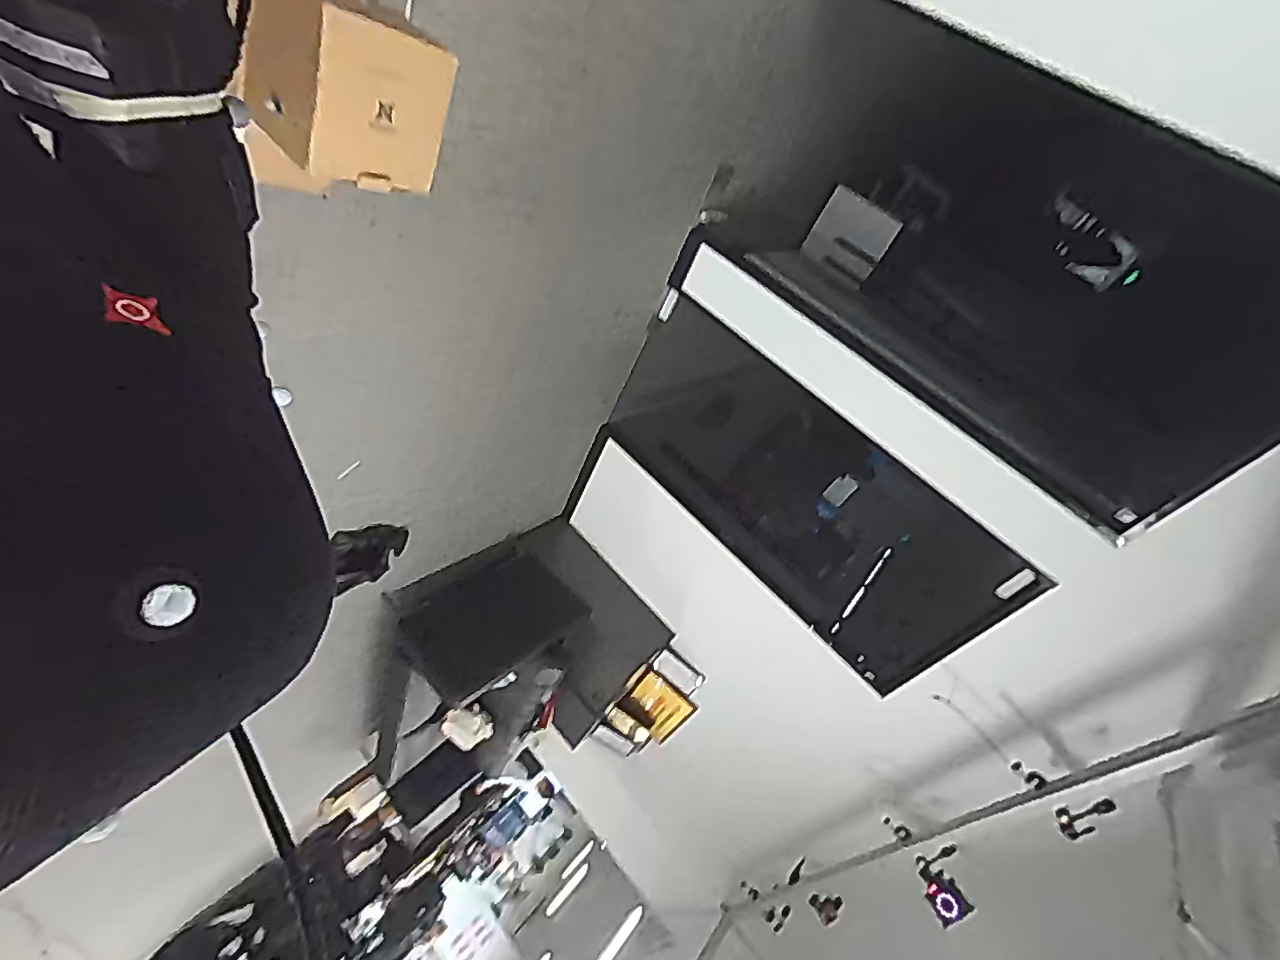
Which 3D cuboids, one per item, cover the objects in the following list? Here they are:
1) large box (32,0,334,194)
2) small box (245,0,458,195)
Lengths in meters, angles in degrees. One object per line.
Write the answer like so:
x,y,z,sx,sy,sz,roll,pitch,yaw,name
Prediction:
-0.665,-0.731,0.814,0.320,0.320,0.408,-20,150,-52,large box
-0.362,-0.493,0.674,0.168,0.176,0.179,-25,152,-50,small box
